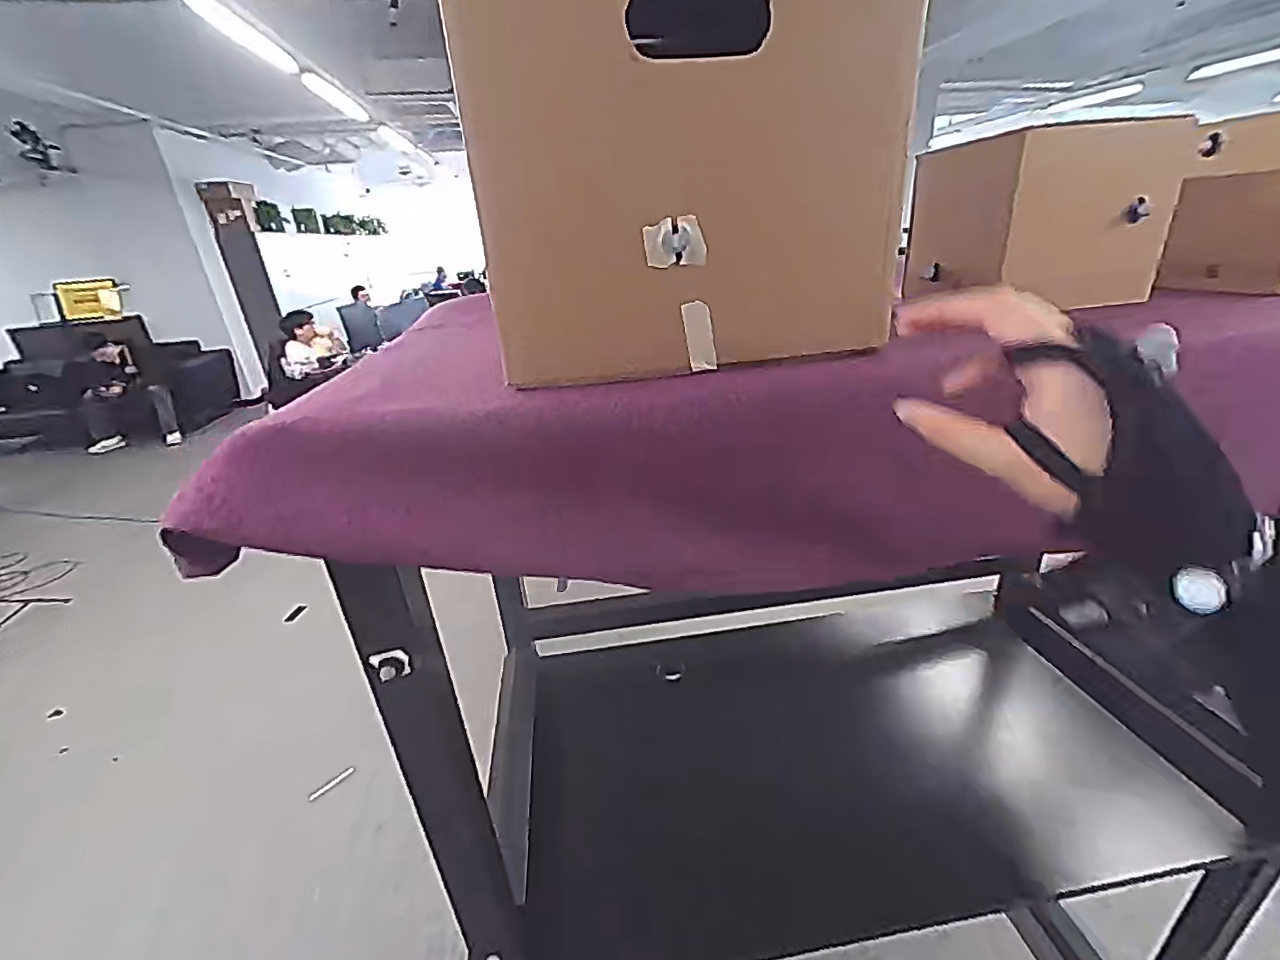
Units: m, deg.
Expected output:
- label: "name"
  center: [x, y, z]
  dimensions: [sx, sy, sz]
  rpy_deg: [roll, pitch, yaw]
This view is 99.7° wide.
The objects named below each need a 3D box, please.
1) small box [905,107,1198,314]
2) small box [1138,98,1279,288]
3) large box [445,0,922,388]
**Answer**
- label: "small box"
  center: [0.417, -0.282, 0.585]
  dimensions: [0.179, 0.176, 0.168]
  rpy_deg: [-8, 24, -5]
- label: "small box"
  center: [0.684, -0.306, 0.577]
  dimensions: [0.179, 0.176, 0.168]
  rpy_deg: [-8, 23, -7]
- label: "large box"
  center: [0.011, -0.297, 0.535]
  dimensions: [0.320, 0.320, 0.408]
  rpy_deg: [-7, 23, -6]
